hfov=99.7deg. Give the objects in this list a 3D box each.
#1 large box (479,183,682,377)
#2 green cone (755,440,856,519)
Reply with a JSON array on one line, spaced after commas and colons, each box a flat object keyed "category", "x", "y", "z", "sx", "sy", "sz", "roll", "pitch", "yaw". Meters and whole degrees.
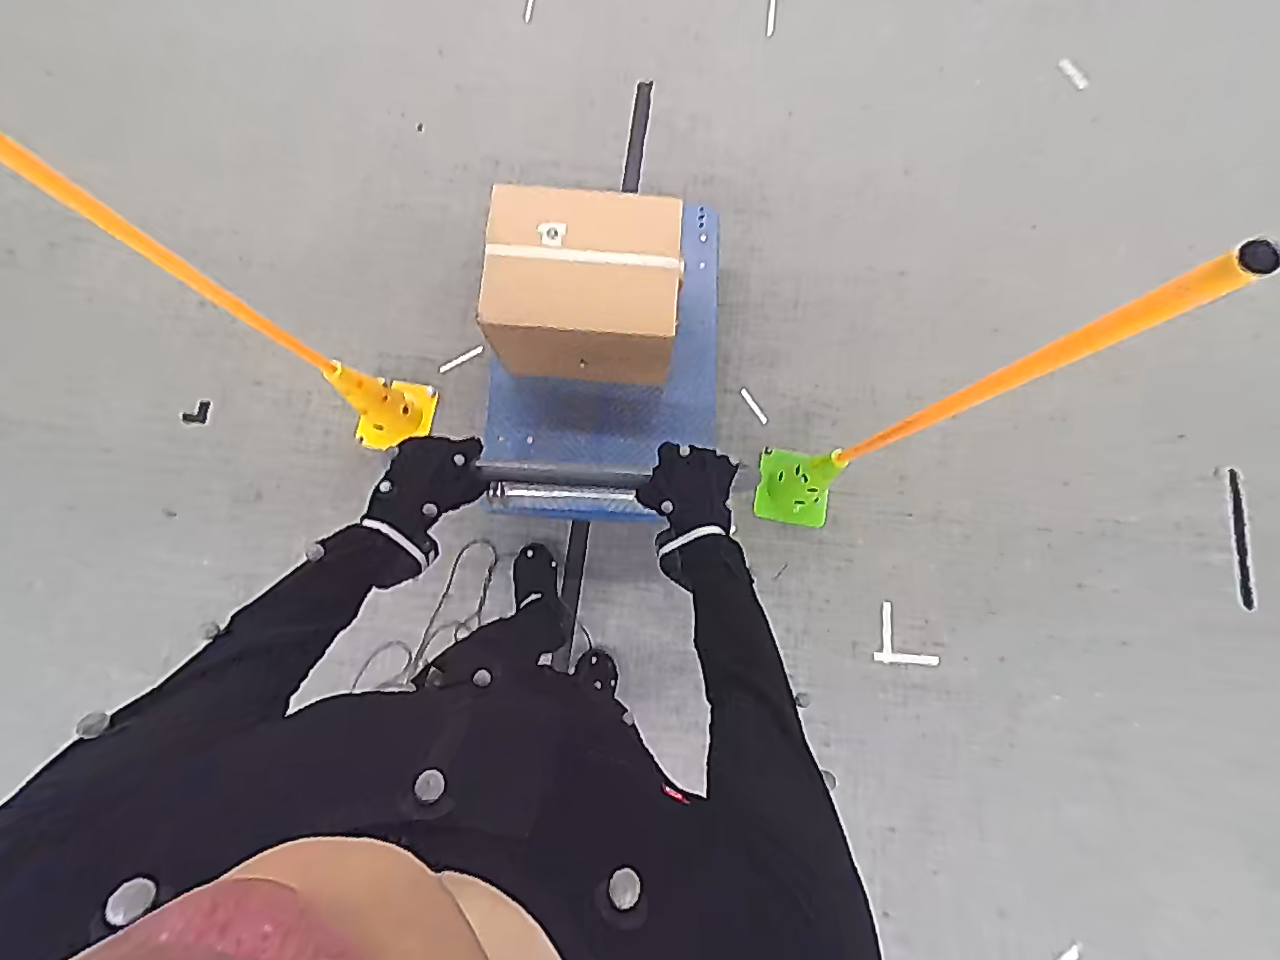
[{"category": "large box", "x": -0.117, "y": -0.441, "z": 1.257, "sx": 0.408, "sy": 0.320, "sz": 0.320, "roll": 4, "pitch": 81, "yaw": 0}, {"category": "green cone", "x": 0.434, "y": -0.031, "z": 1.340, "sx": 0.202, "sy": 0.368, "sz": 0.200, "roll": 11, "pitch": 80, "yaw": 0}]
